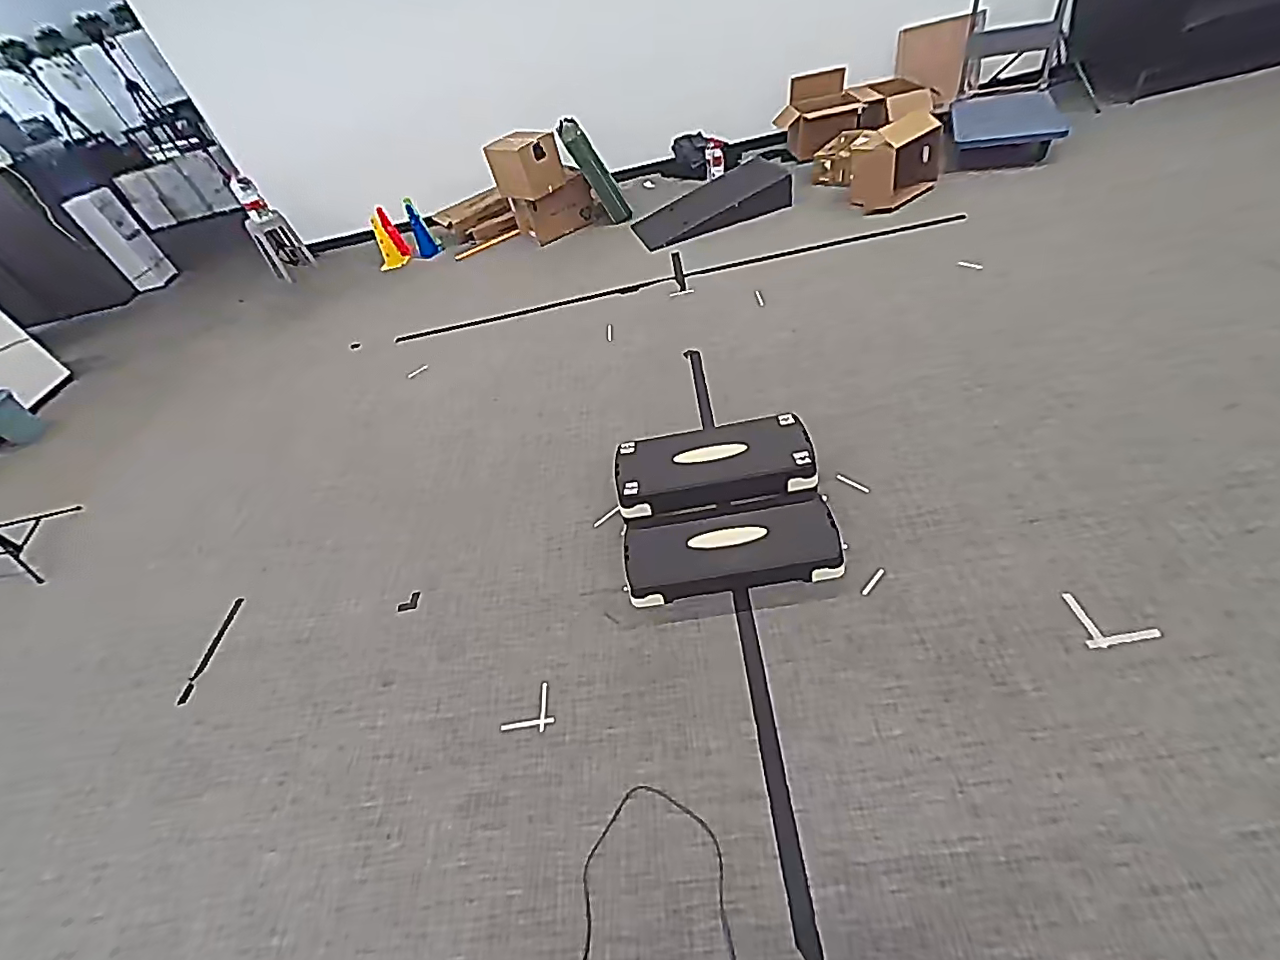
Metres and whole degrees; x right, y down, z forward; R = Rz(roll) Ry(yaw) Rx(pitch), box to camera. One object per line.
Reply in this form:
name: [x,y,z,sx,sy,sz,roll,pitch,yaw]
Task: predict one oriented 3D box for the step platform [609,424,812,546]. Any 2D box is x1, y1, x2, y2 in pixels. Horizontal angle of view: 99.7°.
step platform: [0.235,0.014,1.878,0.684,0.204,0.286,-10,45,4]
